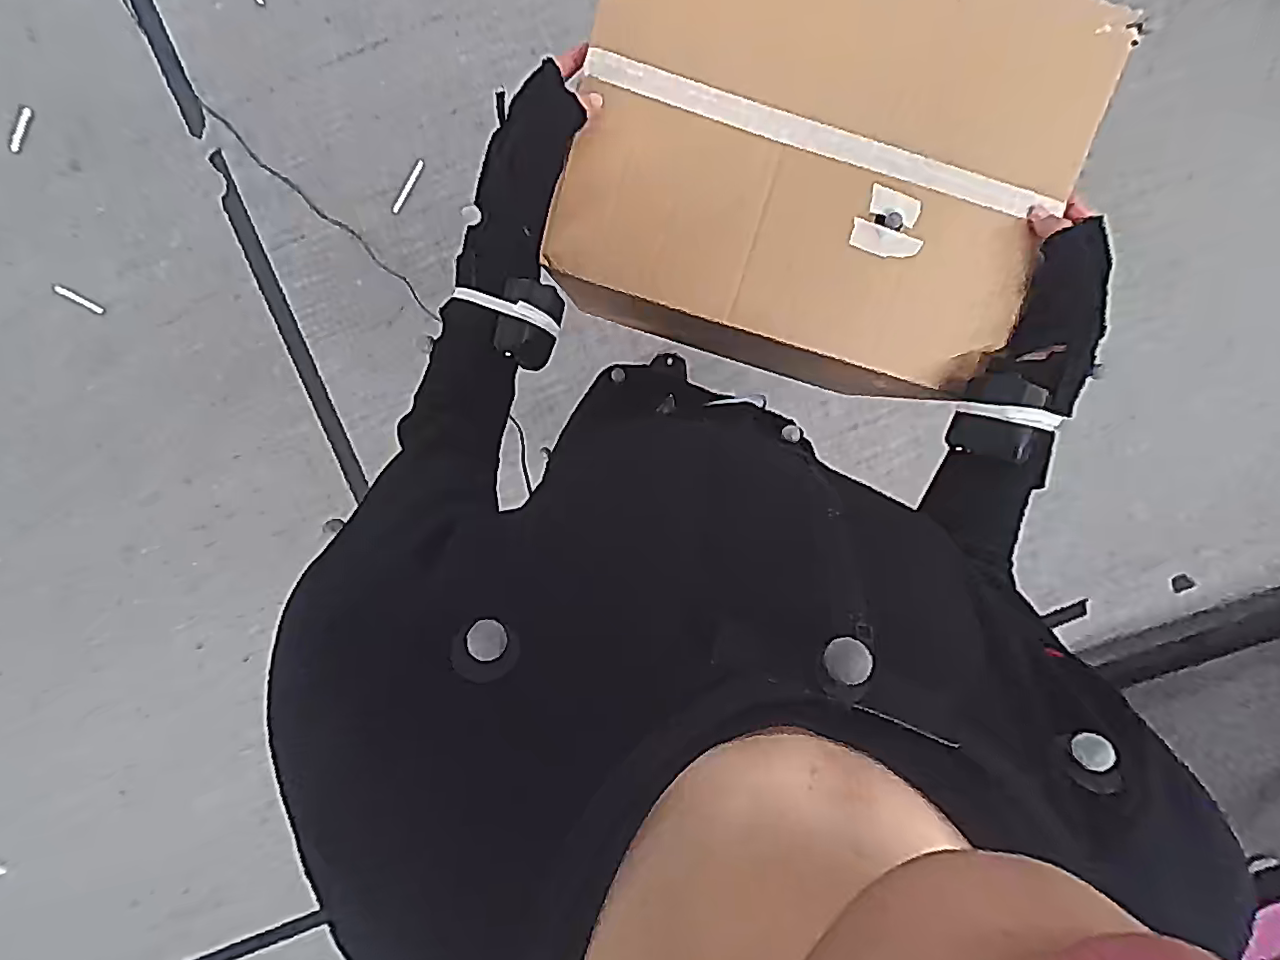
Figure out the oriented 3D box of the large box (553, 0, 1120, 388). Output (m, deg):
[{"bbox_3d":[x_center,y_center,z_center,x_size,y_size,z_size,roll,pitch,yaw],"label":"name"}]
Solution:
[{"bbox_3d":[0.151,-0.305,0.592,0.408,0.320,0.320,17,101,-4],"label":"large box"}]
